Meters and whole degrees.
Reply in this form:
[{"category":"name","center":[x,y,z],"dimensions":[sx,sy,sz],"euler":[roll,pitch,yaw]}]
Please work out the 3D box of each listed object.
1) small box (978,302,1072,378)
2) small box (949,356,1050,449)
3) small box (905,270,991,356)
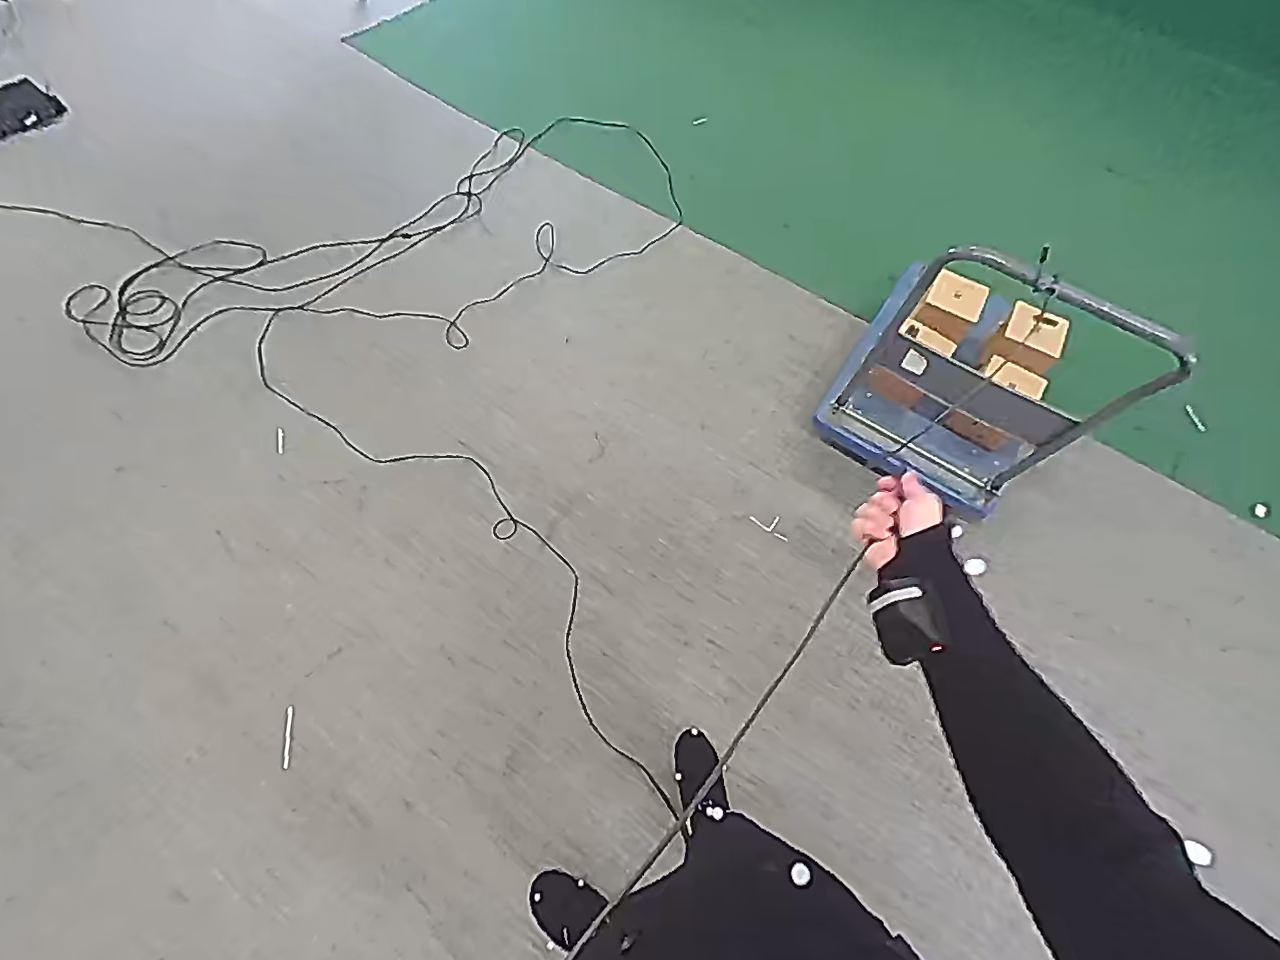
[{"category":"small box","center":[1.219,-0.422,1.723],"dimensions":[0.168,0.176,0.179],"euler":[29,66,12]},{"category":"small box","center":[1.066,-0.227,1.616],"dimensions":[0.168,0.176,0.179],"euler":[33,67,13]},{"category":"small box","center":[1.002,-0.541,1.771],"dimensions":[0.168,0.176,0.179],"euler":[29,65,11]}]
